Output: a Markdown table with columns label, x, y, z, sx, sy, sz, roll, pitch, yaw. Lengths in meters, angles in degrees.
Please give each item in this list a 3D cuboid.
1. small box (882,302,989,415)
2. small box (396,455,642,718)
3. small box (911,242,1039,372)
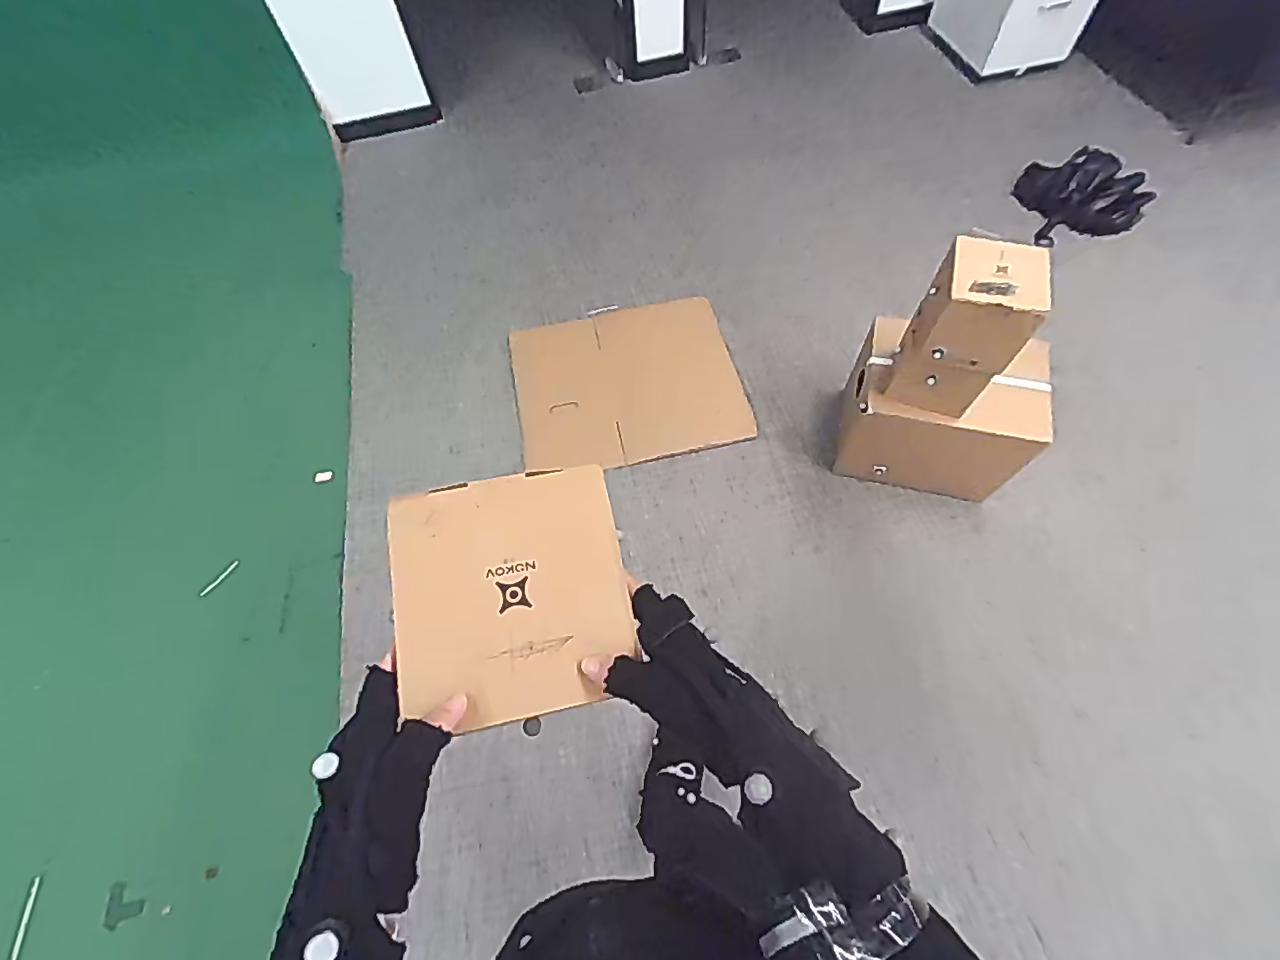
| label | x | y | z | sx | sy | sz | roll | pitch | yaw |
| --- | --- | --- | --- | --- | --- | --- | --- | --- | --- |
| small box | 0.672 | -0.270 | 1.226 | 0.179 | 0.176 | 0.168 | 17 | 63 | 12 |
| small box | -0.101 | 0.099 | 0.476 | 0.168 | 0.176 | 0.179 | -10 | 70 | -9 |
| small box | 0.655 | -0.338 | 1.073 | 0.168 | 0.176 | 0.179 | 11 | 65 | 10 |
